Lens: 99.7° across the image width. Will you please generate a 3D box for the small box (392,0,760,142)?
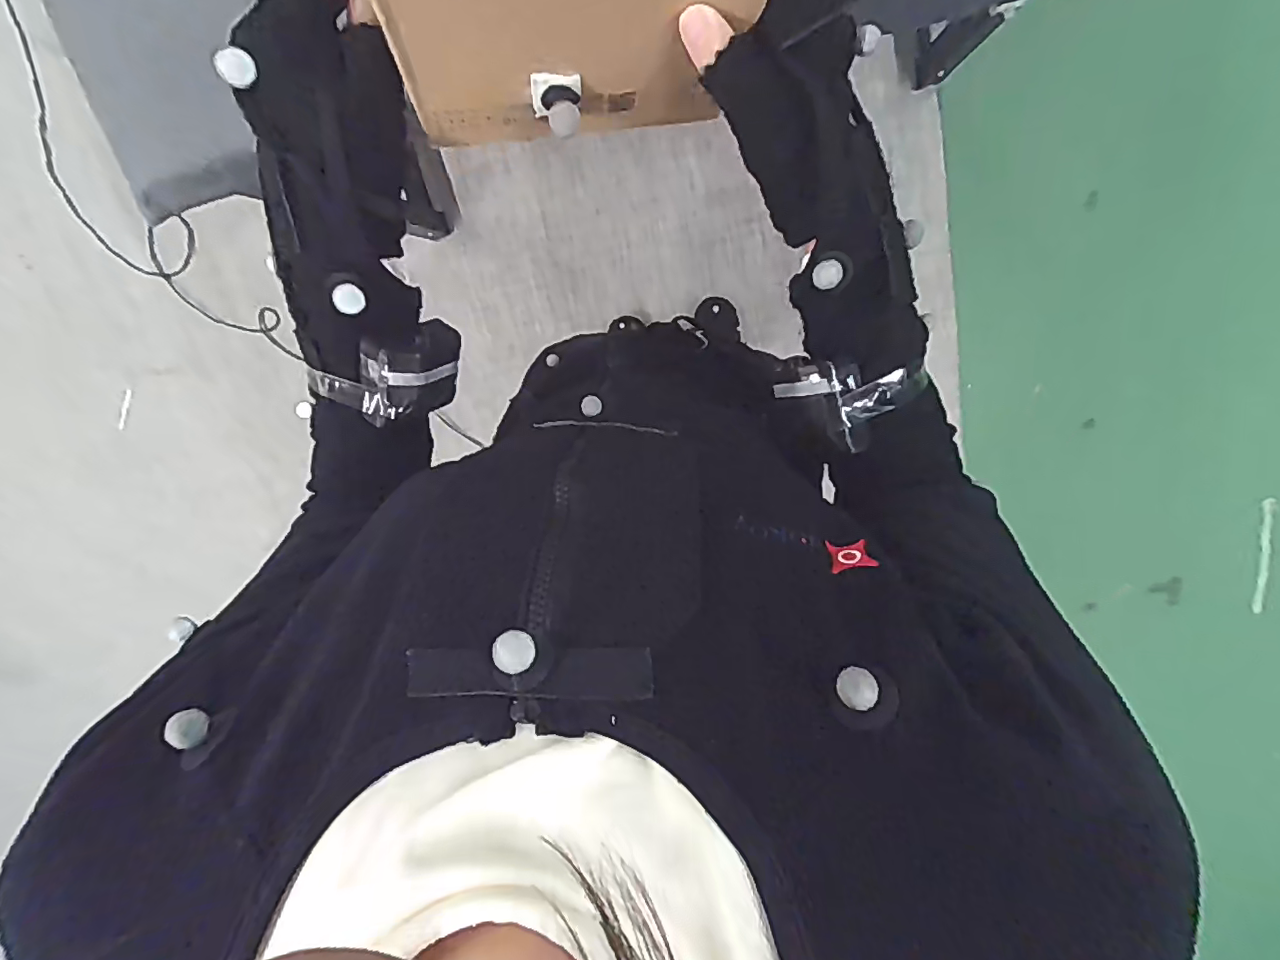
[{"bbox_3d":[-0.038,-0.286,0.230,0.168,0.176,0.179,-12,93,-7],"label":"small box"}]
